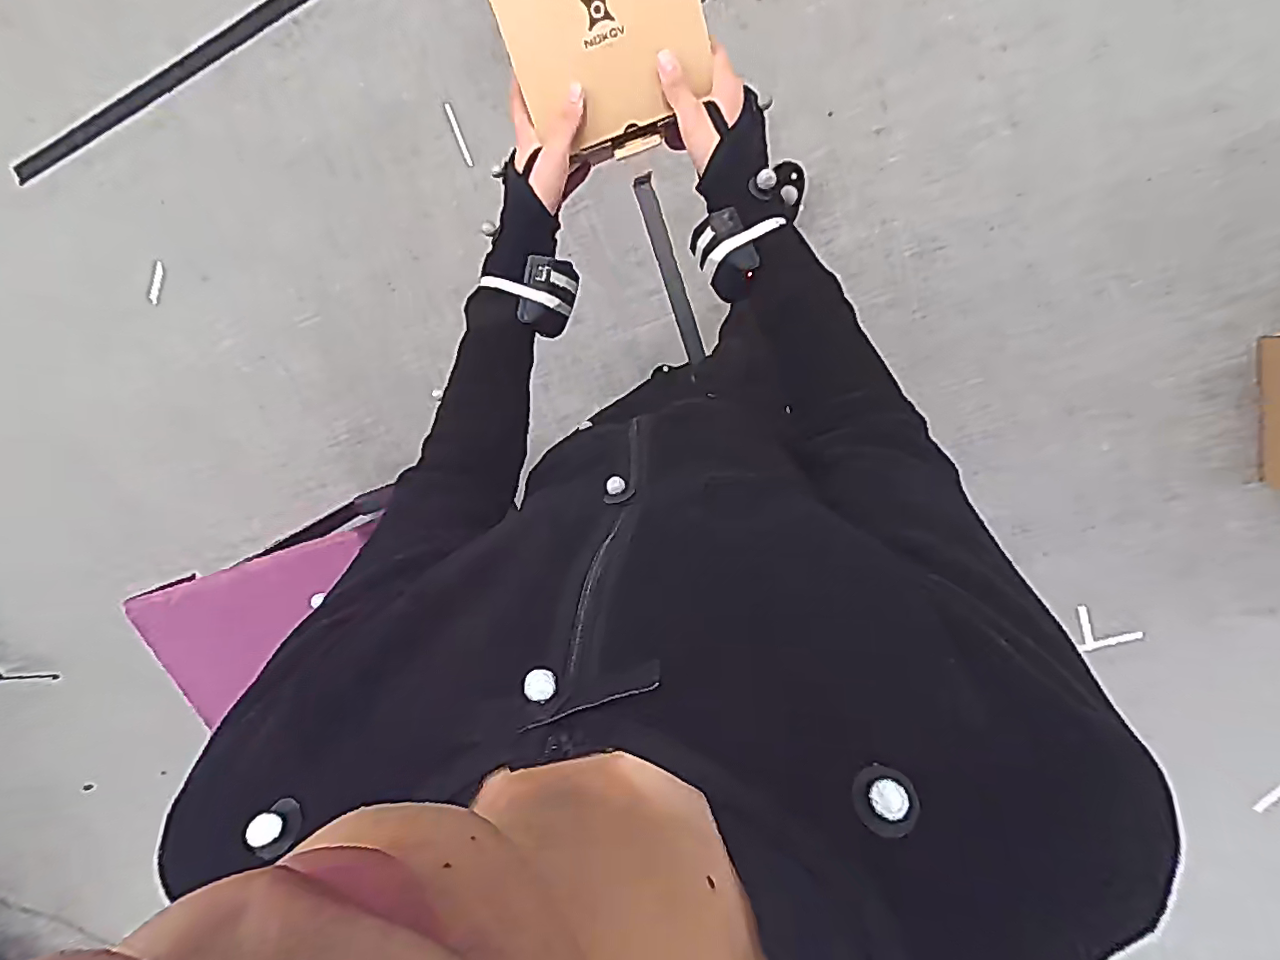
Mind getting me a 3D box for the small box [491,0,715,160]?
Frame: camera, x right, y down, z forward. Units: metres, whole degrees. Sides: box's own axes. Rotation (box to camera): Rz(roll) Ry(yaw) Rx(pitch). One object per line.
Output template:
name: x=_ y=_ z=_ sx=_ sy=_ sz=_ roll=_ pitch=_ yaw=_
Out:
small box: x=-0.035 y=-0.423 z=0.510 sx=0.168 sy=0.176 sz=0.179 roll=-17 pitch=116 yaw=8
